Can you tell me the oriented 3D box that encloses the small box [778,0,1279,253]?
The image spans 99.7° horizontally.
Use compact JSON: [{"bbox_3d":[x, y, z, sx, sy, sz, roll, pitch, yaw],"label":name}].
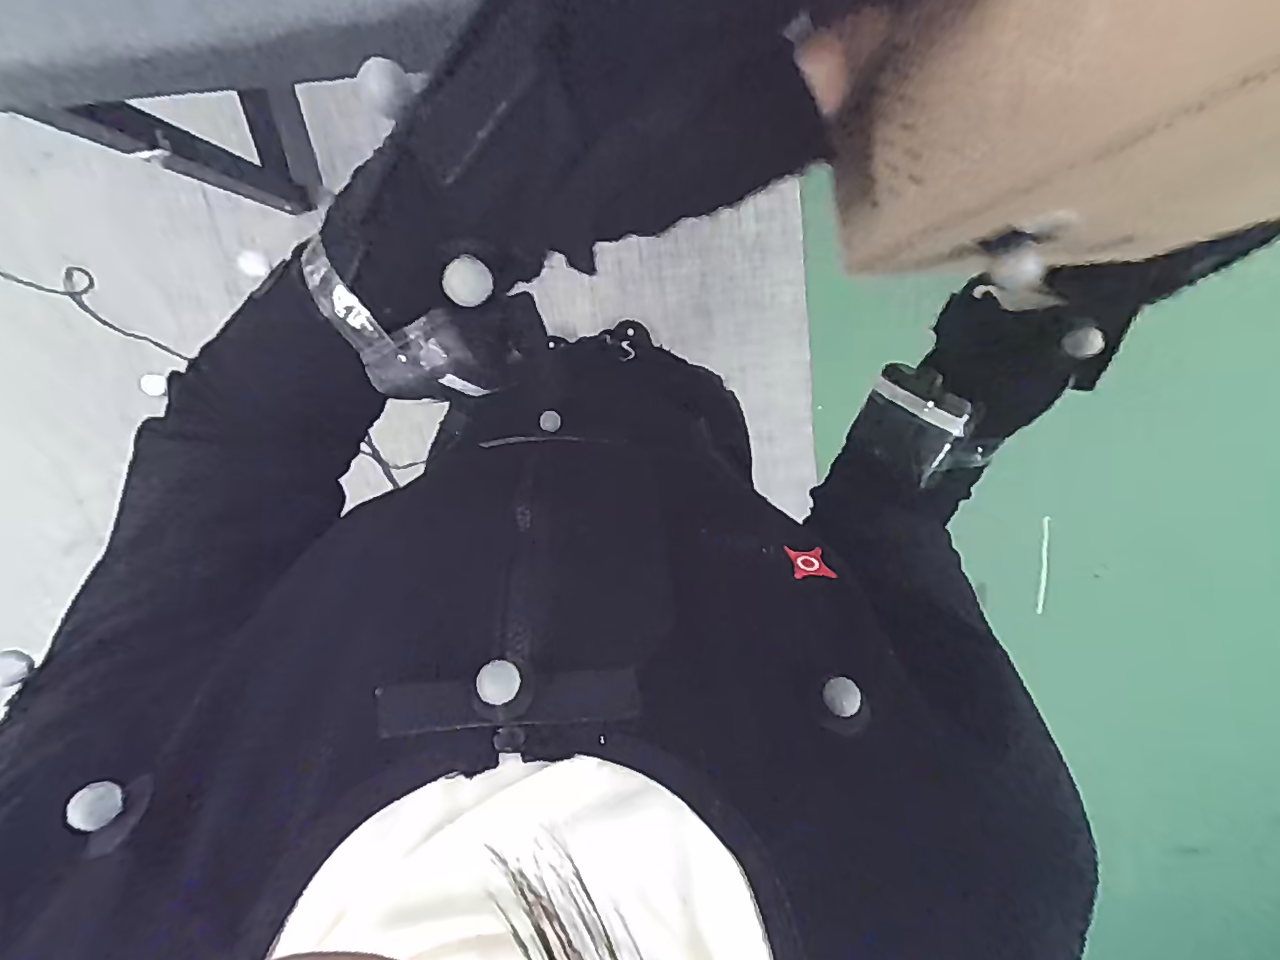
[{"bbox_3d":[0.145,-0.165,0.124,0.168,0.176,0.179,-12,94,-24],"label":"small box"}]
